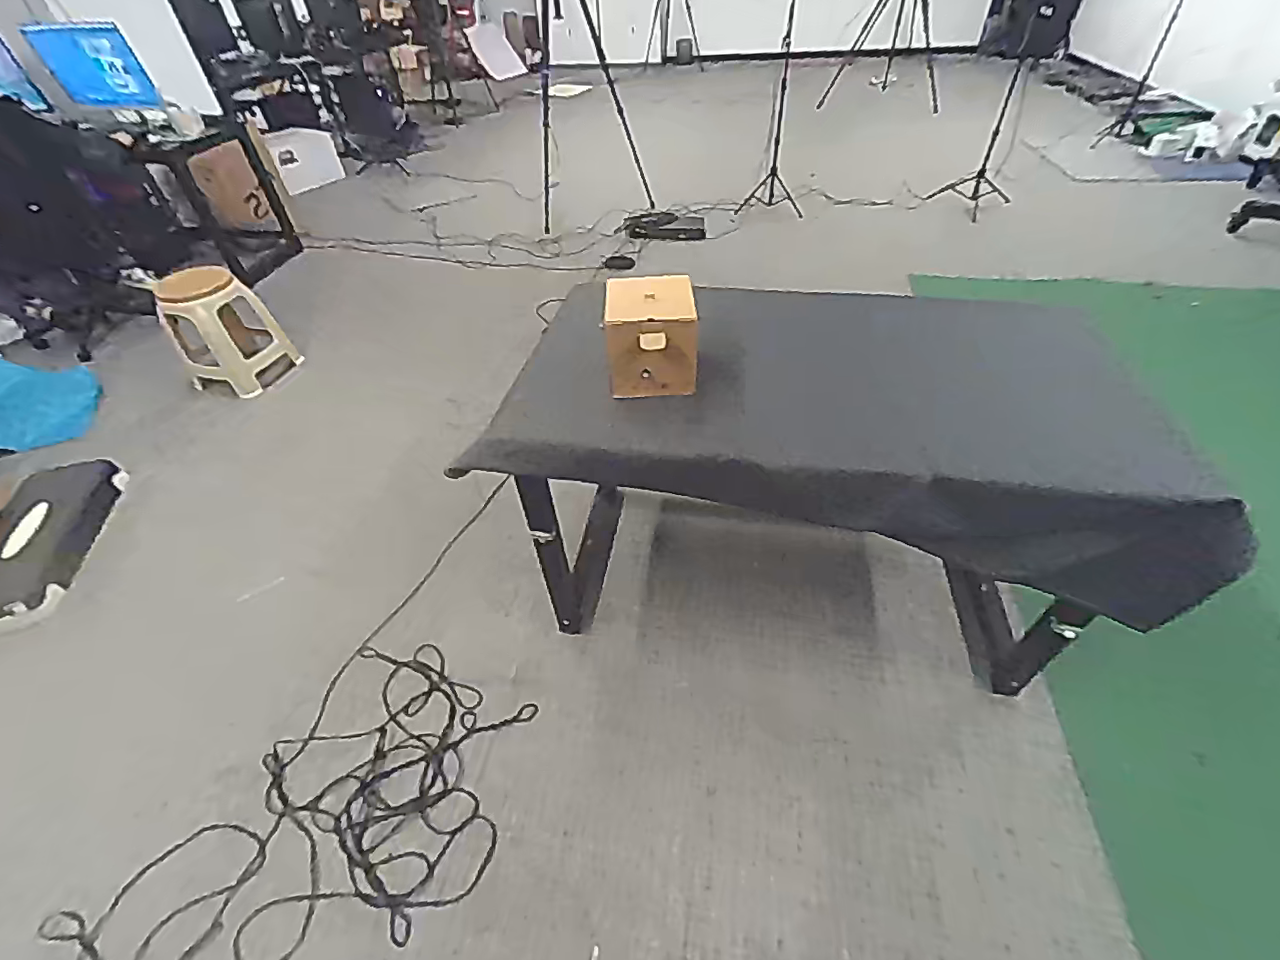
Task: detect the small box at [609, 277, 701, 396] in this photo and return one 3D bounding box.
[{"bbox_3d":[0.026,-0.284,1.068,0.168,0.176,0.179,-2,45,0],"label":"small box"}]
